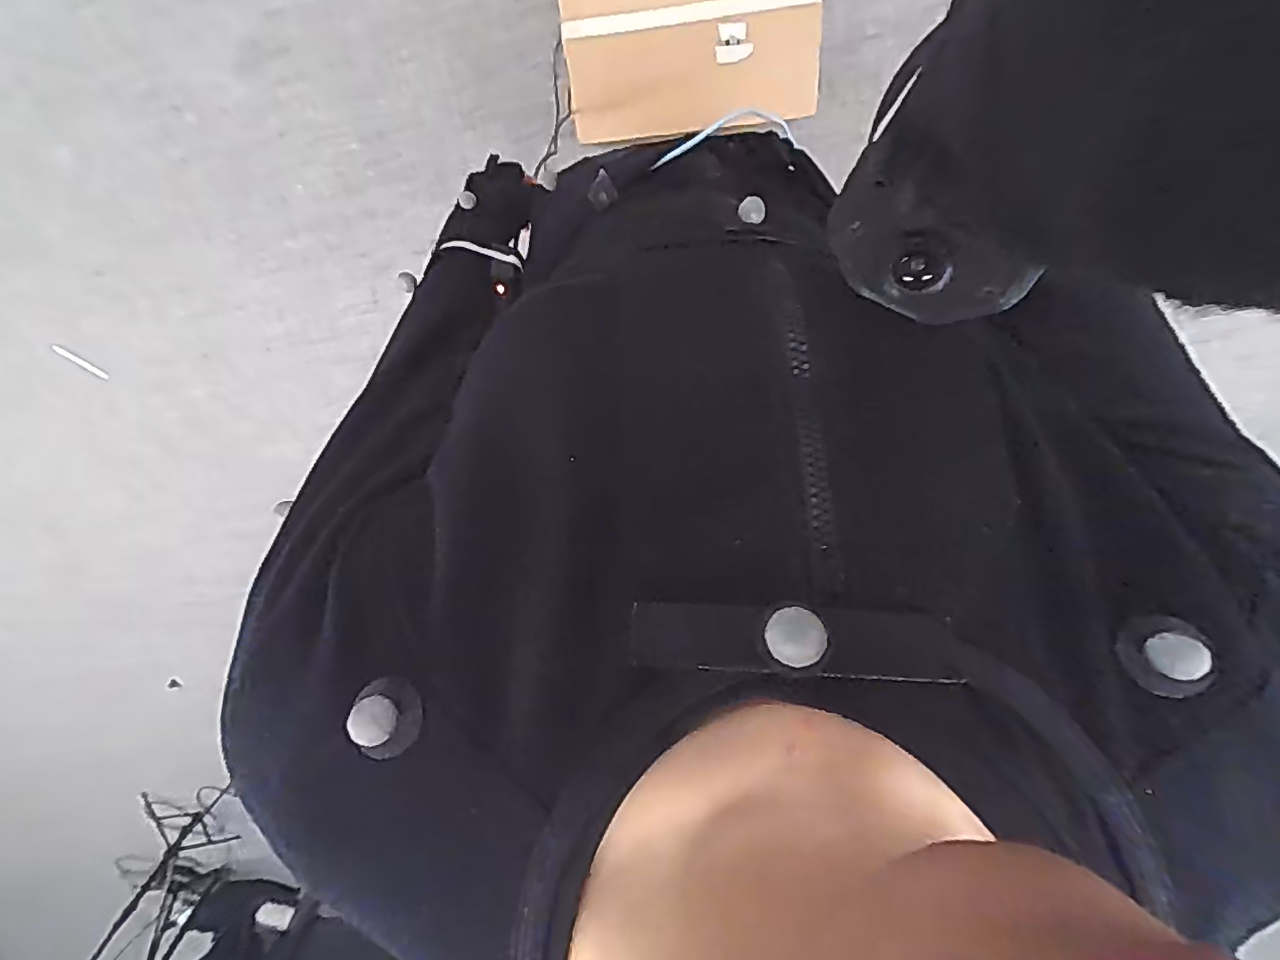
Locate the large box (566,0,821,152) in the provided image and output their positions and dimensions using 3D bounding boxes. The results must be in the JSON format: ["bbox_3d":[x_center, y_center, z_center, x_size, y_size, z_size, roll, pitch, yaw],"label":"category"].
[{"bbox_3d":[0.088,-0.802,0.983,0.408,0.320,0.320,-4,121,4],"label":"large box"}]
